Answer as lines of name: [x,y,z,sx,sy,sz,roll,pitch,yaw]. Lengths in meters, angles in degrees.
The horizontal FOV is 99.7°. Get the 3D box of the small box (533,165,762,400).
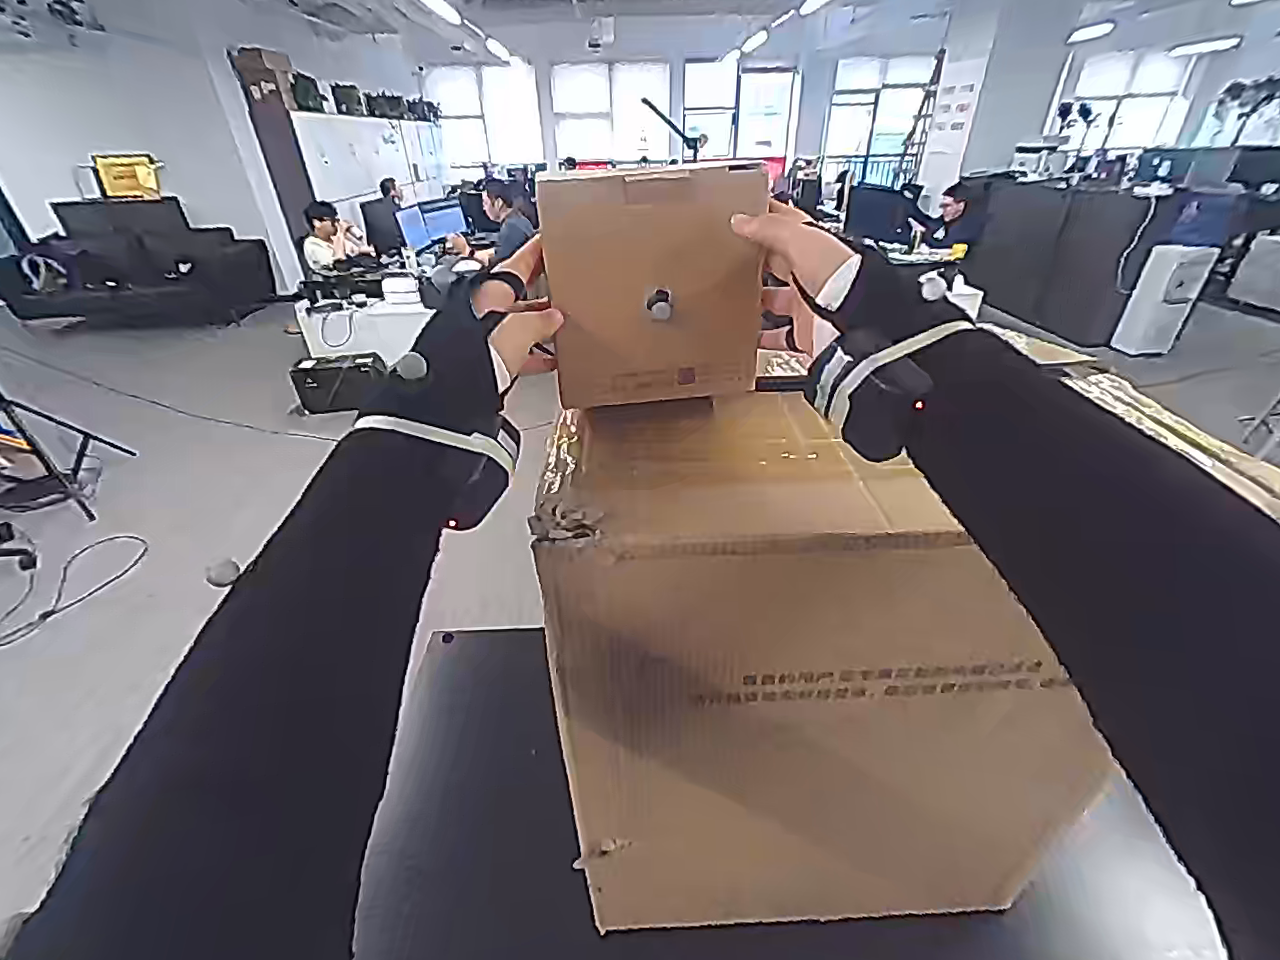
small box: [0.001,-0.177,0.484,0.168,0.176,0.179,-6,31,-6]
